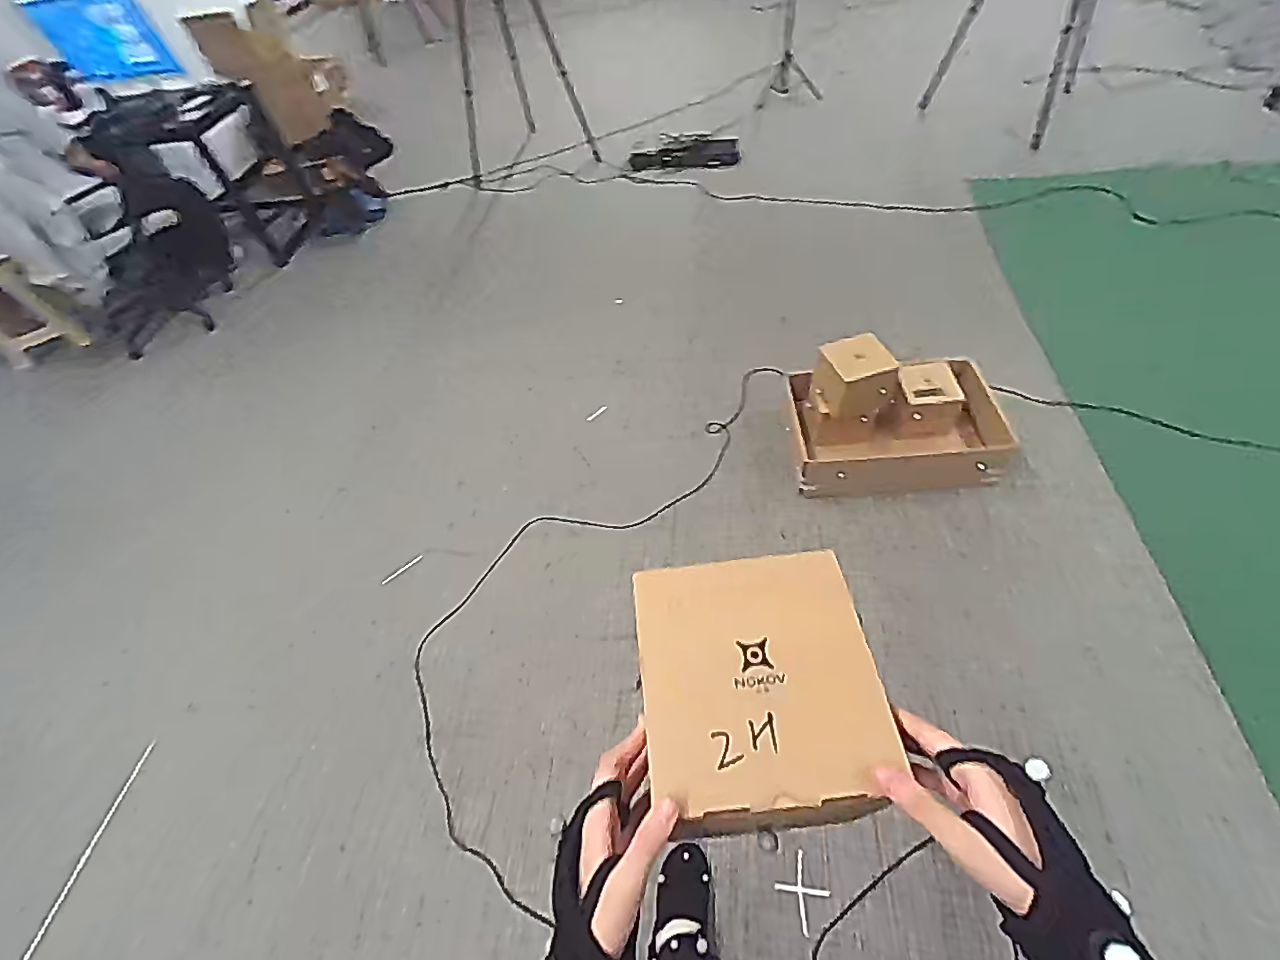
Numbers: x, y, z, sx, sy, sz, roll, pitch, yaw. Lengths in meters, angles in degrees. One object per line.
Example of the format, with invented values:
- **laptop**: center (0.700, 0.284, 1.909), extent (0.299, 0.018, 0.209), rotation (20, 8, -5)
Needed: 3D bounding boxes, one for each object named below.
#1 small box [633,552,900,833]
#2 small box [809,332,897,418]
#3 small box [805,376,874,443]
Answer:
- **small box**: center (0.083, 0.181, 0.454), extent (0.168, 0.176, 0.179), rotation (-6, 53, 2)
- **small box**: center (0.639, -0.317, 1.646), extent (0.179, 0.176, 0.168), rotation (-17, 54, -5)
- **small box**: center (0.650, -0.235, 1.787), extent (0.179, 0.176, 0.168), rotation (-3, 54, 5)
